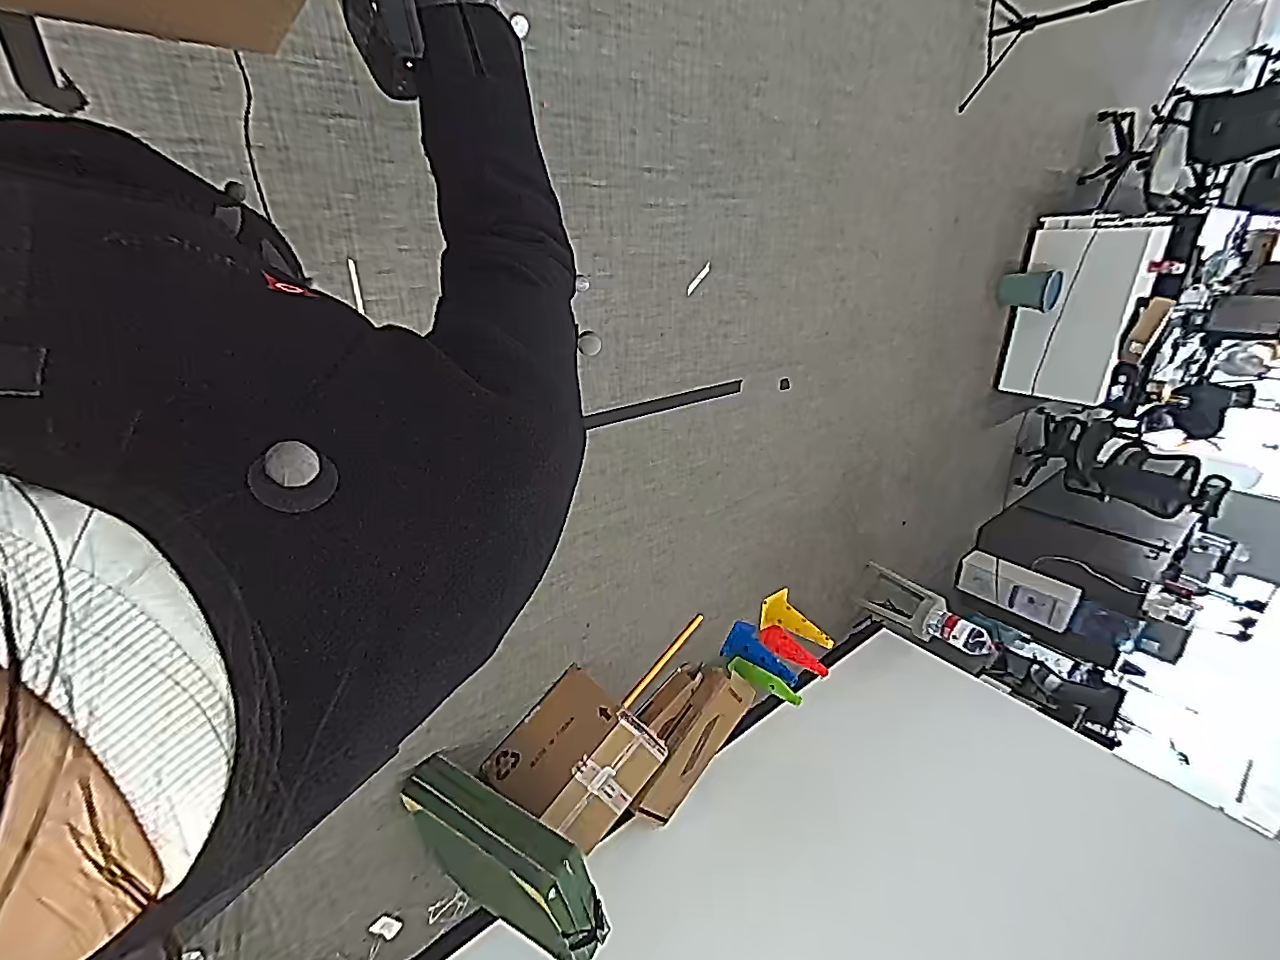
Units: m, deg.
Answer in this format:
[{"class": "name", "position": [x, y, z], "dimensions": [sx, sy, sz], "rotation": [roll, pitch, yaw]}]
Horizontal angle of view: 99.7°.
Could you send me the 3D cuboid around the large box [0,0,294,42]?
[{"class": "large box", "position": [-0.413, -0.445, 0.235], "dimensions": [0.408, 0.320, 0.320], "rotation": [-18, 123, -34]}]
